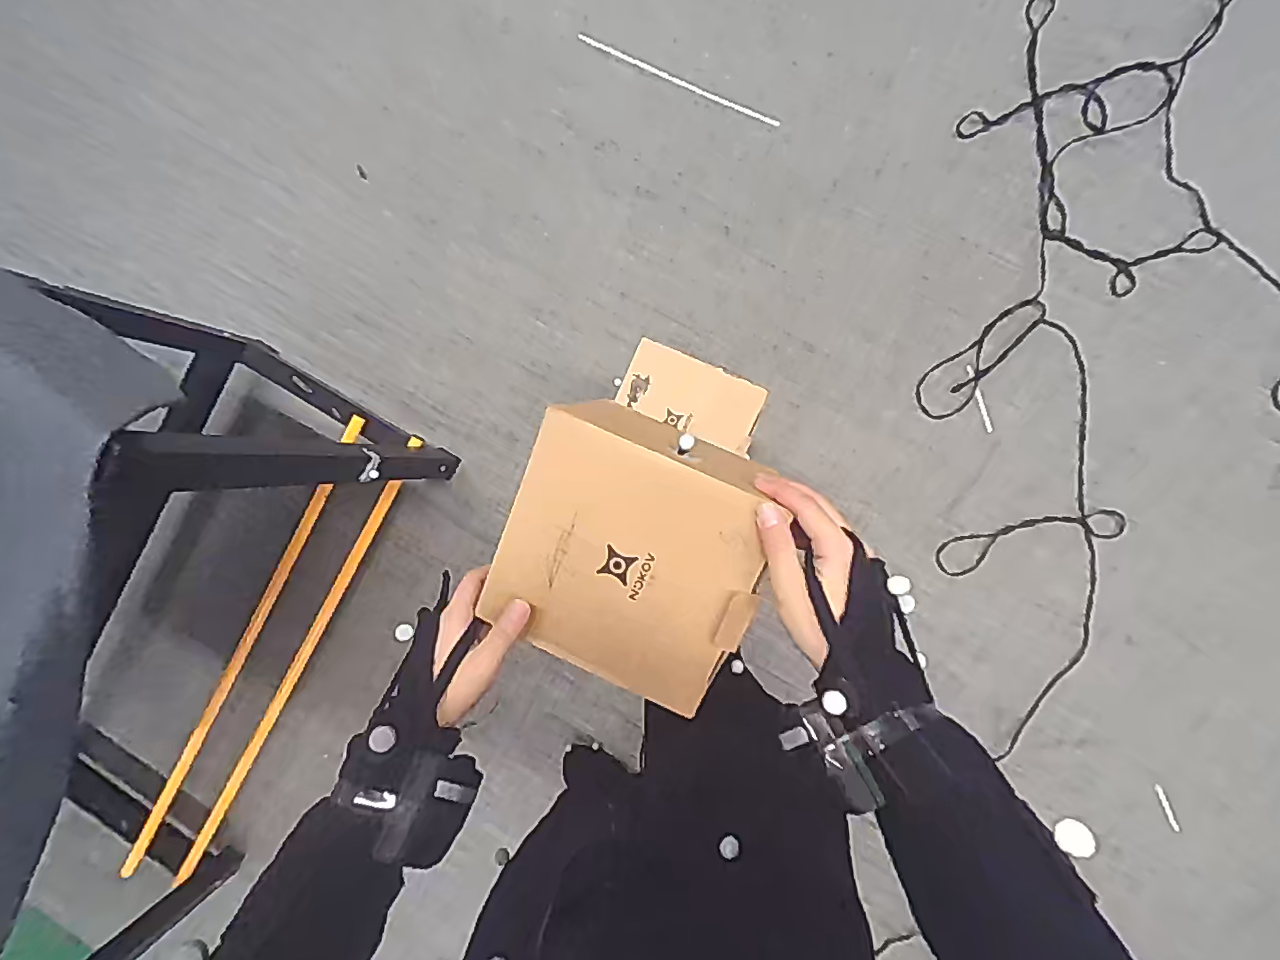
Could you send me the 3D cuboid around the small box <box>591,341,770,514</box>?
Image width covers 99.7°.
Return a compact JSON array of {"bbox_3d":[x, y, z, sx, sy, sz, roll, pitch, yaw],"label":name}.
[{"bbox_3d":[0.056,-0.069,0.751,0.179,0.176,0.168,25,93,5],"label":"small box"}]
